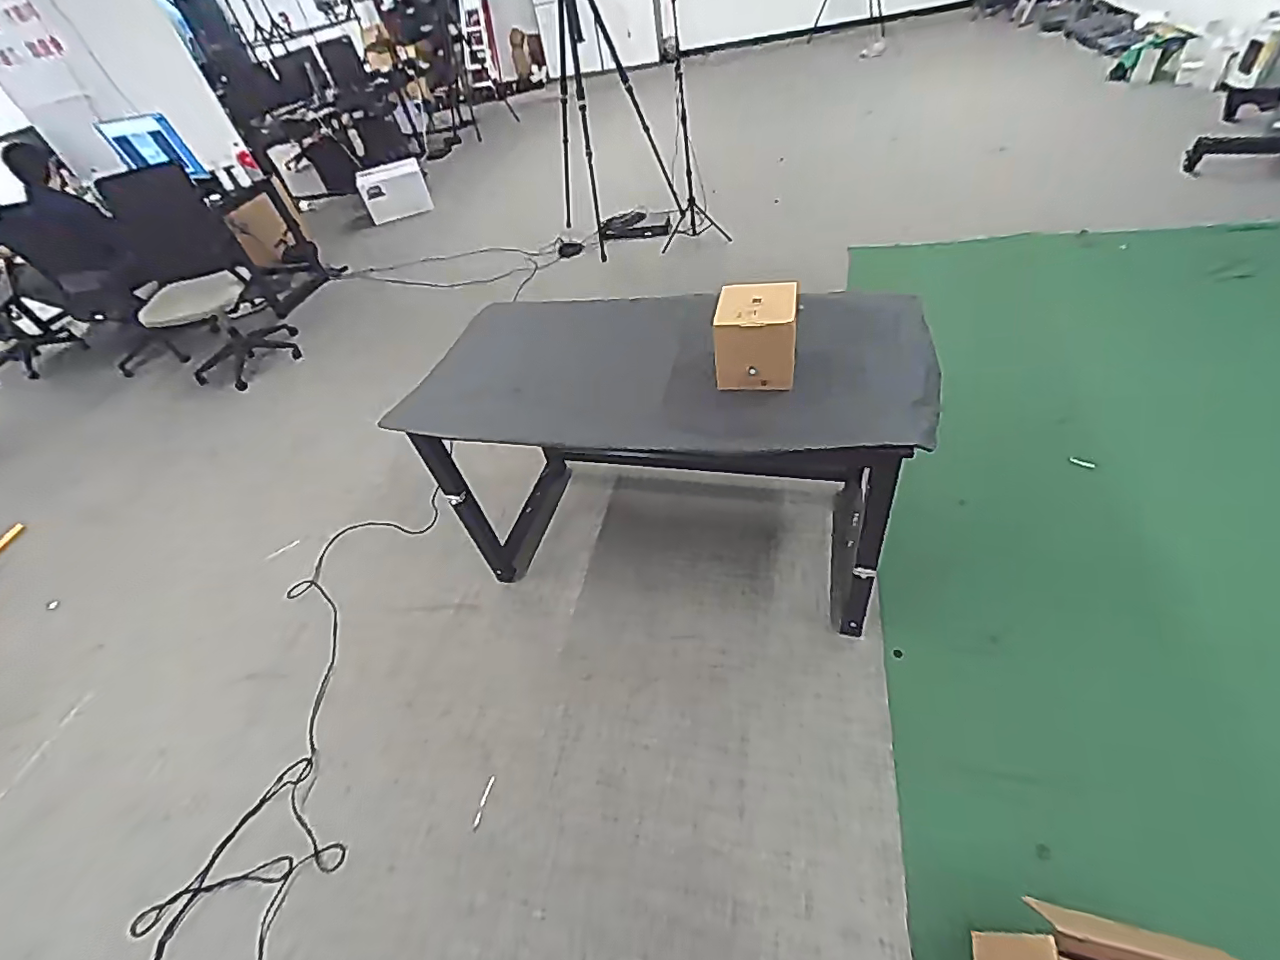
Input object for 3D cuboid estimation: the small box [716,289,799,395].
[{"bbox_3d":[0.268,-0.310,1.219,0.168,0.176,0.179,3,46,17],"label":"small box"}]
